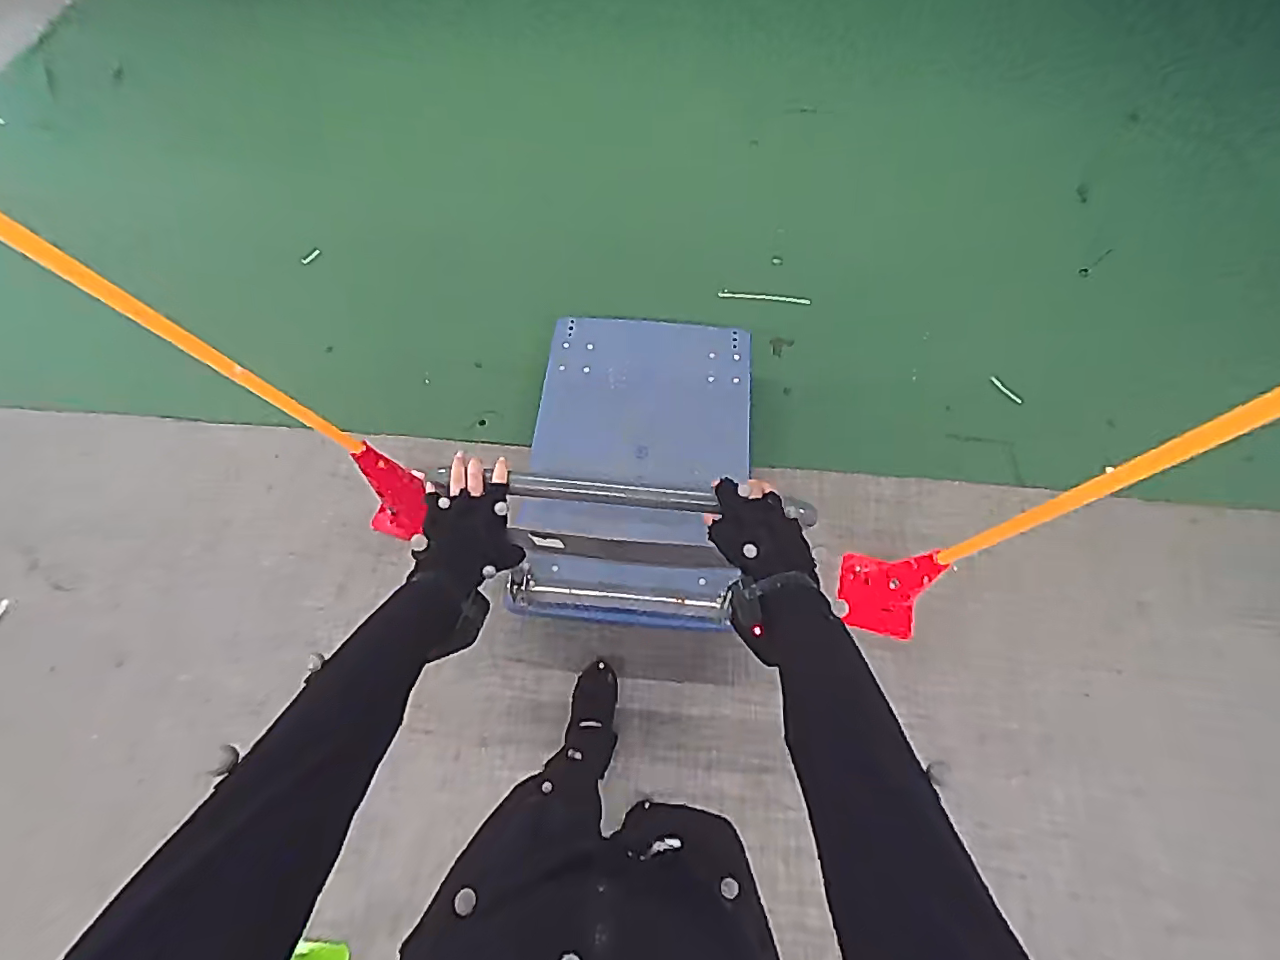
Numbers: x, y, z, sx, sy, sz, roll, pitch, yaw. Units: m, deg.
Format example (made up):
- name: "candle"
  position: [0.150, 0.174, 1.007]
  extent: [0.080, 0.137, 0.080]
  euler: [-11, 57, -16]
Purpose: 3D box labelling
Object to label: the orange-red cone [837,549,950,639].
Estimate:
- name: "orange-red cone"
  position: [0.627, 0.233, 1.275]
  extent: [0.198, 0.360, 0.199]
  euler: [15, 68, 8]
